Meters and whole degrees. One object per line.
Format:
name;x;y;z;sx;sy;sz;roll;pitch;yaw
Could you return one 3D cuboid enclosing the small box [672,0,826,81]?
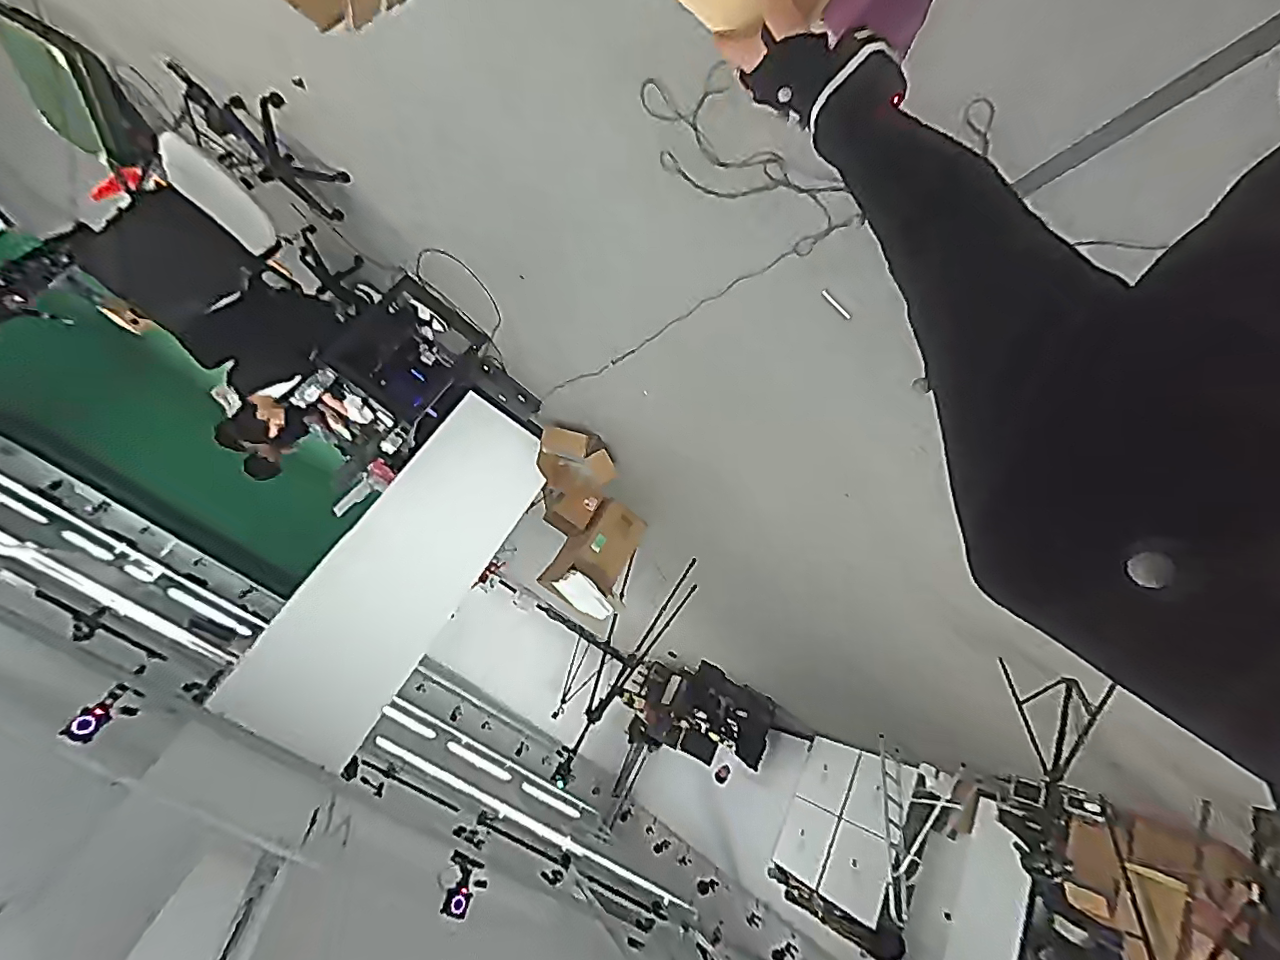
small box;0.139;-0.567;0.537;0.168;0.176;0.179;36;155;-10
